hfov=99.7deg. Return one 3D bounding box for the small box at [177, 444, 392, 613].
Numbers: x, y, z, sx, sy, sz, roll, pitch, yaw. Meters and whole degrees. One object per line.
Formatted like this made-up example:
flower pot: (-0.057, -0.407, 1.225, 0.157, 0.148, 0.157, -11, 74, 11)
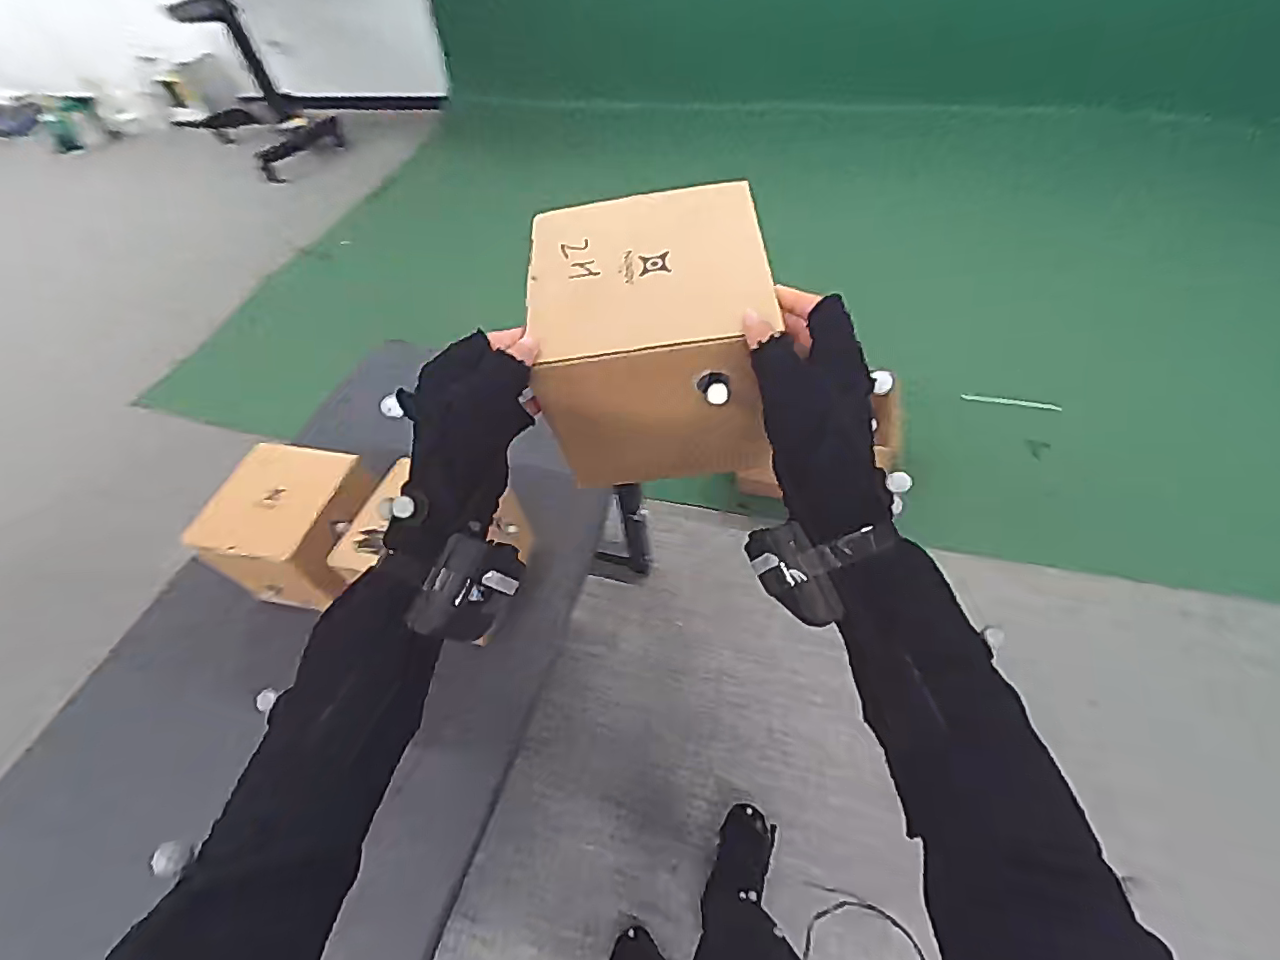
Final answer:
small box: (-0.498, 0.073, 0.796, 0.168, 0.176, 0.179, 7, 56, 11)
